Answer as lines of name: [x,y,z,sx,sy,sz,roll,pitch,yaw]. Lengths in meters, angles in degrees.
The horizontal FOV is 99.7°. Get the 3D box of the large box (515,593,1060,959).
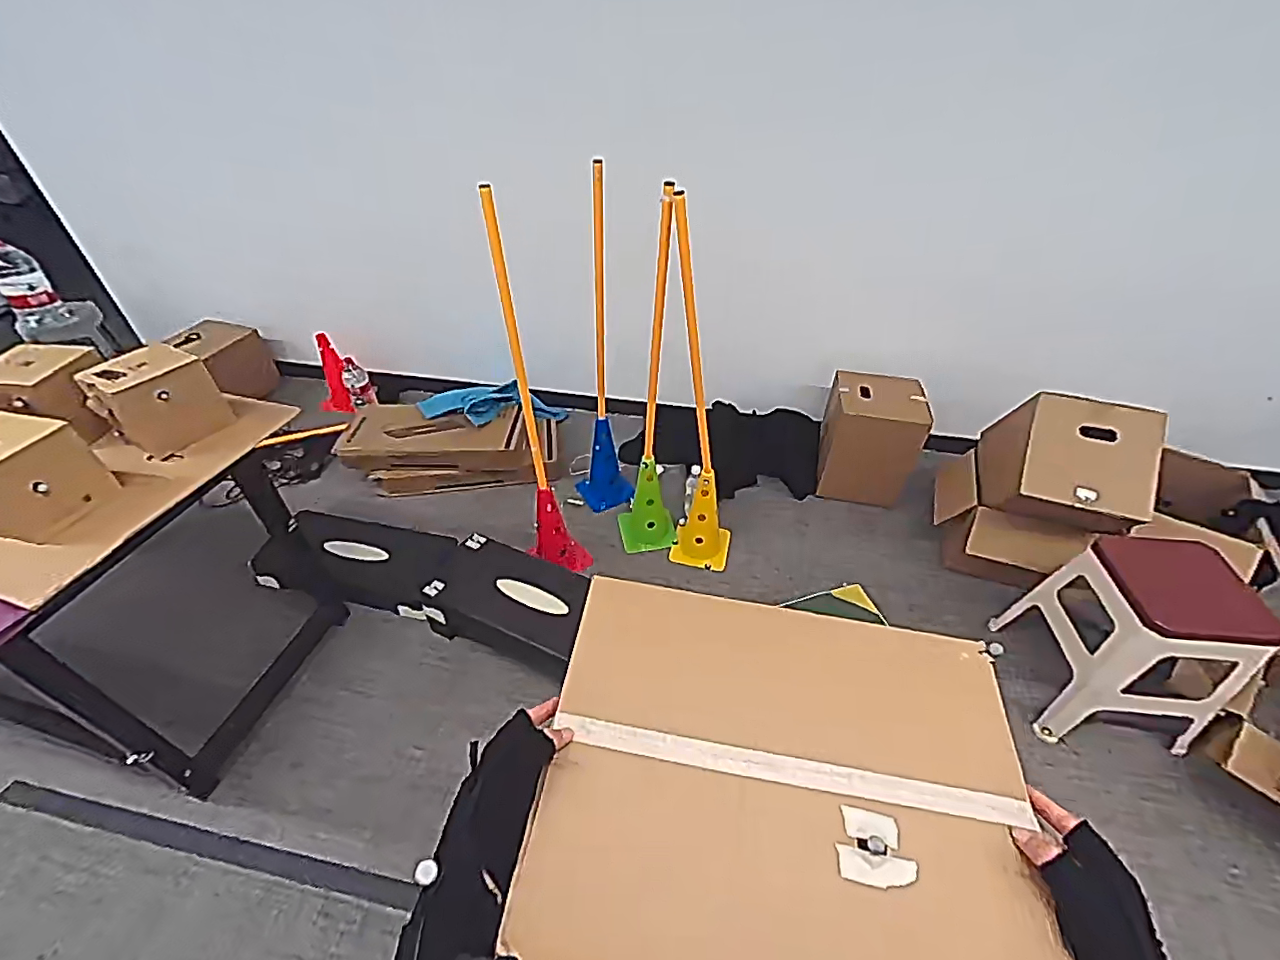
large box: [0.118,0.358,0.579,0.408,0.320,0.320,9,49,5]
